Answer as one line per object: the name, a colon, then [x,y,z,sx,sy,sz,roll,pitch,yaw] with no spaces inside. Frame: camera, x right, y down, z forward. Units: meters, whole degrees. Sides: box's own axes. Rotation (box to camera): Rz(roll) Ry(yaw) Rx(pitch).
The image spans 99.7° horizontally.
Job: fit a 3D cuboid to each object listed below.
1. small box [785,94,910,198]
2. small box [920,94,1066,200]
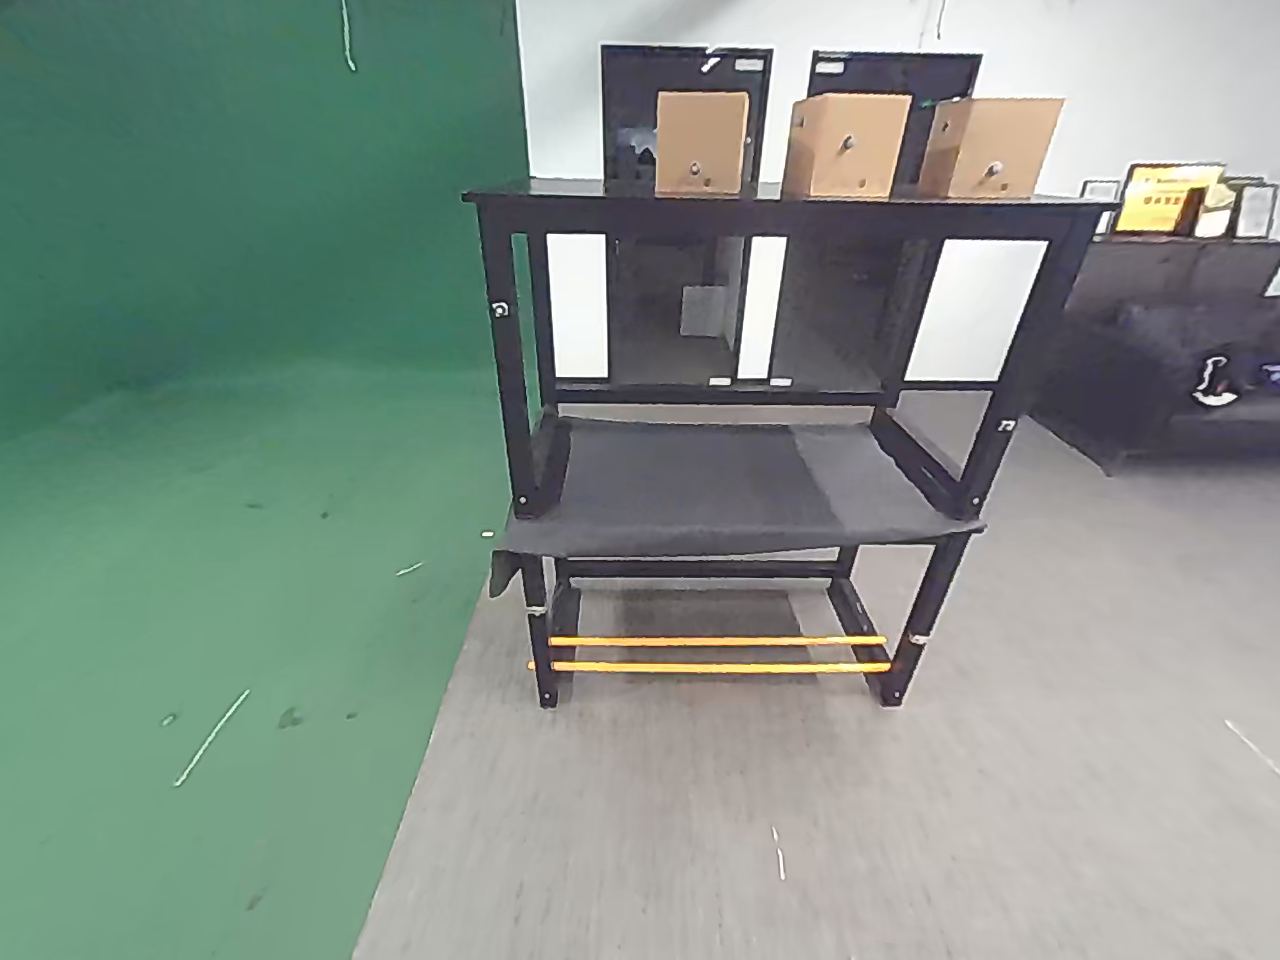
small box: [0.405,-0.667,1.088,0.168,0.176,0.179,-2,31,-5]
small box: [0.698,-0.672,1.097,0.168,0.176,0.179,2,32,4]
